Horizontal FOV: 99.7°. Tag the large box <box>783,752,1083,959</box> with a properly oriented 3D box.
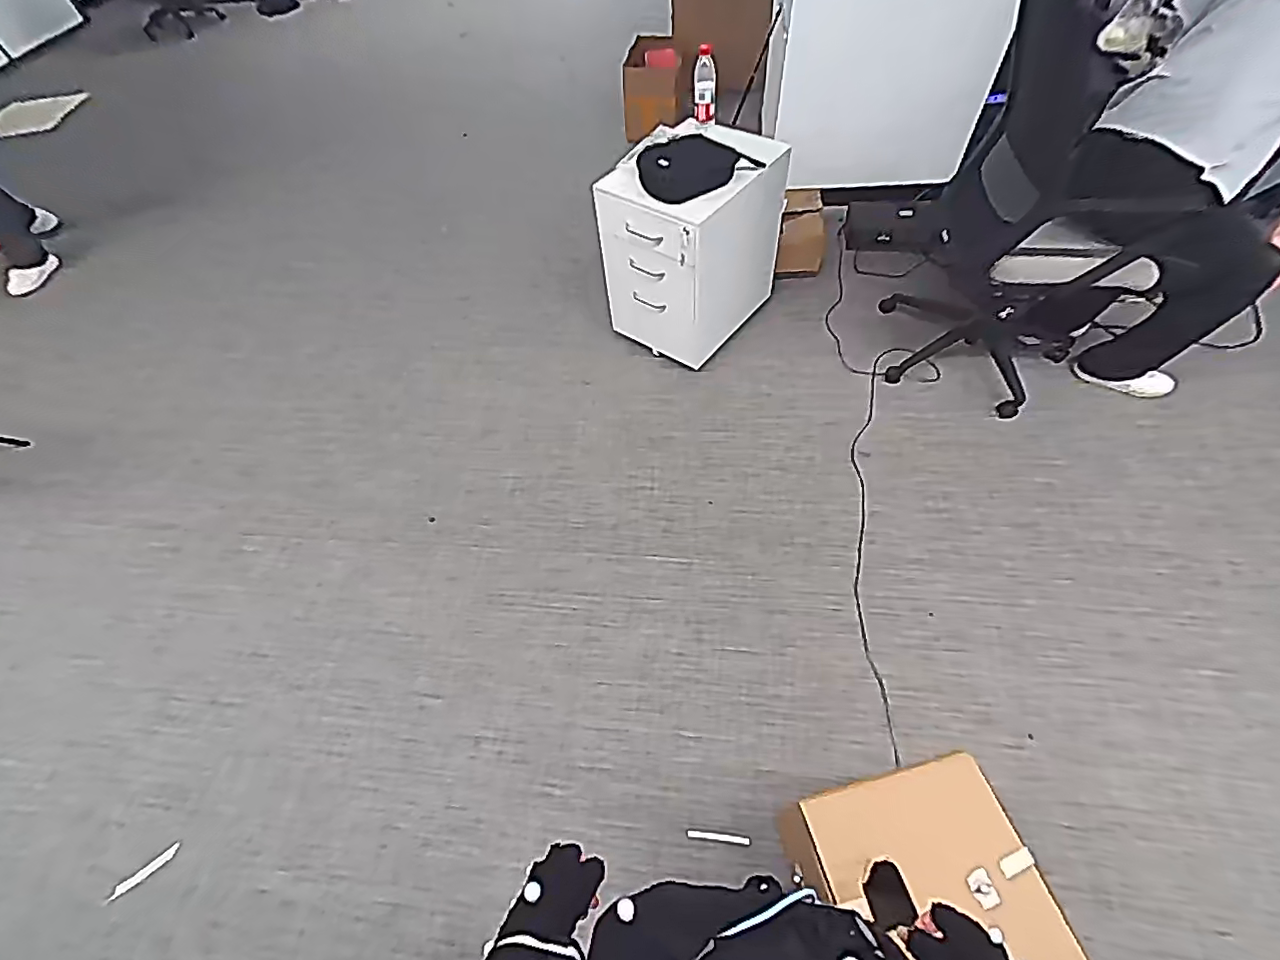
[{"bbox_3d":[0.480,0.736,0.991,0.320,0.408,0.320,-16,54,-2],"label":"large box"}]
